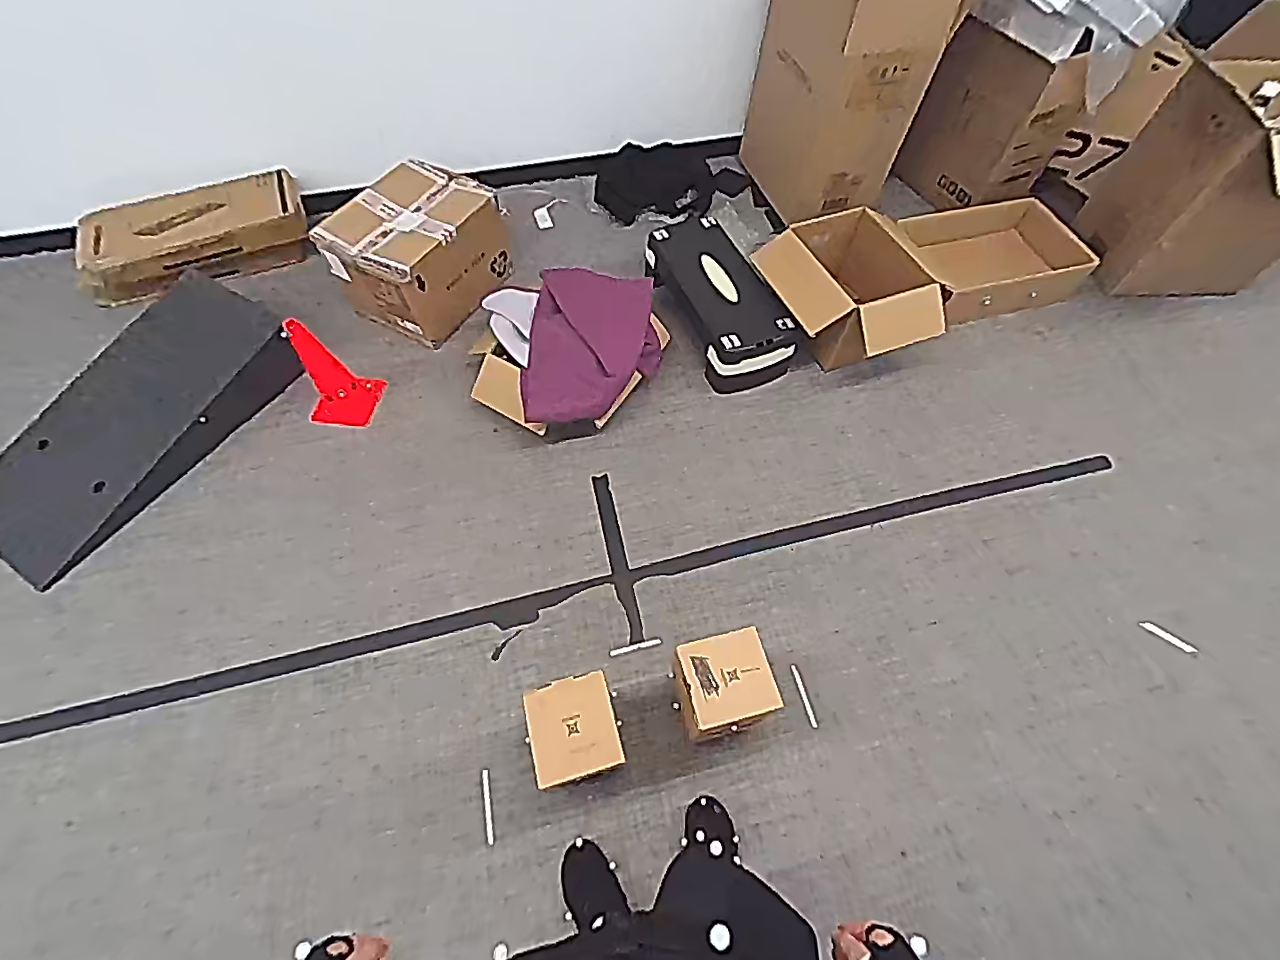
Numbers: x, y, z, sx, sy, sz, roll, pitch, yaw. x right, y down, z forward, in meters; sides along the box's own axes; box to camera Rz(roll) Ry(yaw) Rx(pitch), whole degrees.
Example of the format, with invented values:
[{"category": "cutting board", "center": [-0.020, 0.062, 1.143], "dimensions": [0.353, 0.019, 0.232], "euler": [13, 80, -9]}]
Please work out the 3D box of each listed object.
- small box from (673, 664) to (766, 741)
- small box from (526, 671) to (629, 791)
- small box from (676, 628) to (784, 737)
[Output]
[{"category": "small box", "center": [0.181, 0.513, 1.289], "dimensions": [0.168, 0.176, 0.179], "euler": [-10, 62, -8]}, {"category": "small box", "center": [-0.123, 0.511, 1.098], "dimensions": [0.168, 0.176, 0.179], "euler": [-15, 63, -7]}, {"category": "small box", "center": [0.179, 0.433, 1.145], "dimensions": [0.179, 0.176, 0.168], "euler": [-12, 61, -8]}]
